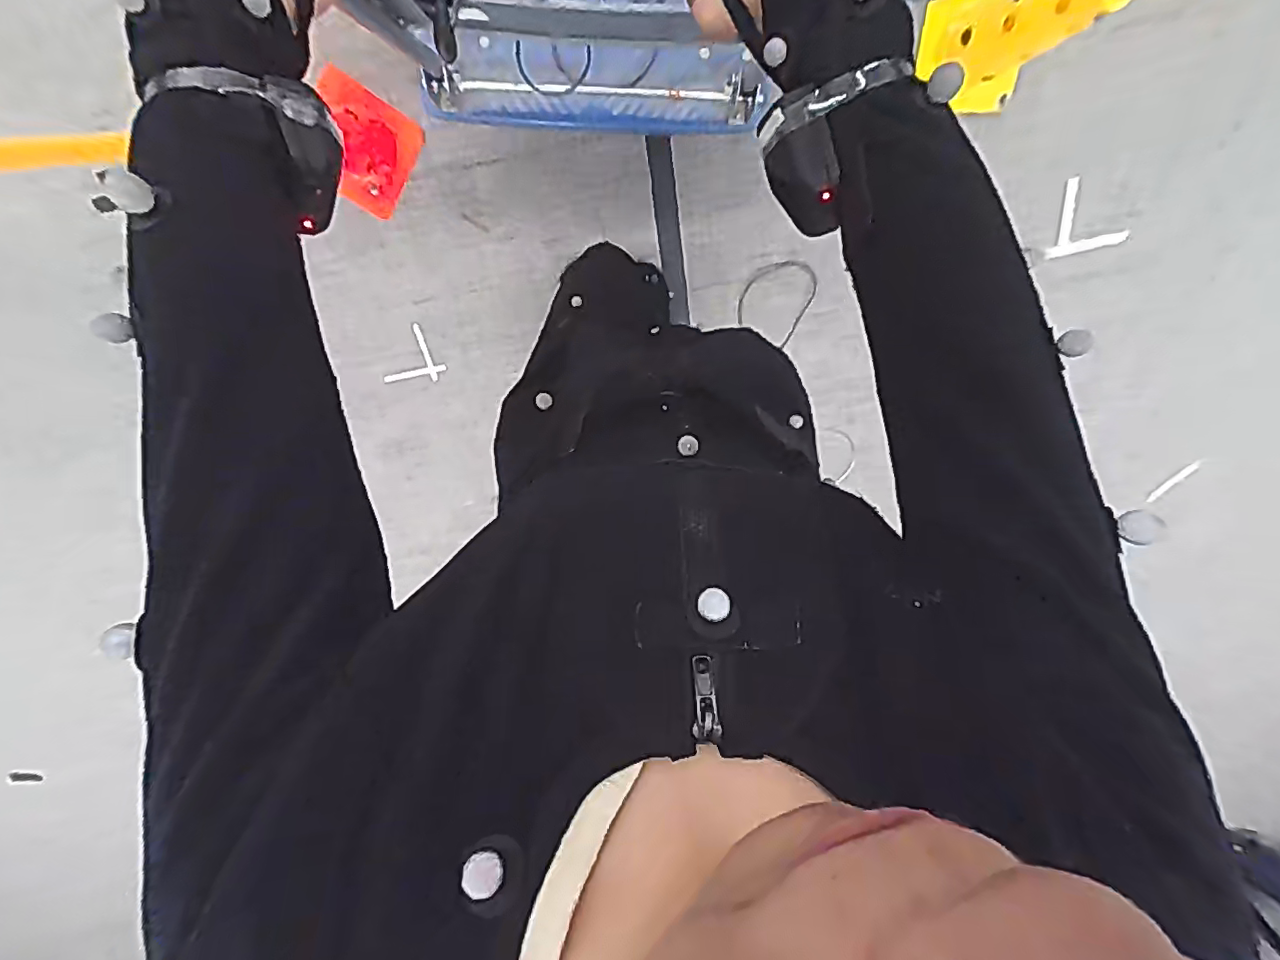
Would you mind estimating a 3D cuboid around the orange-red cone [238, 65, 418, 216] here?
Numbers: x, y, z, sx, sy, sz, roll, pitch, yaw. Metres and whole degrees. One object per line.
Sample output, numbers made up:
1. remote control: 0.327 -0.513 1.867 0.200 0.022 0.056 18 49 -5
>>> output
1. orange-red cone: -0.547 -0.568 0.899 0.198 0.360 0.199 31 112 -19
